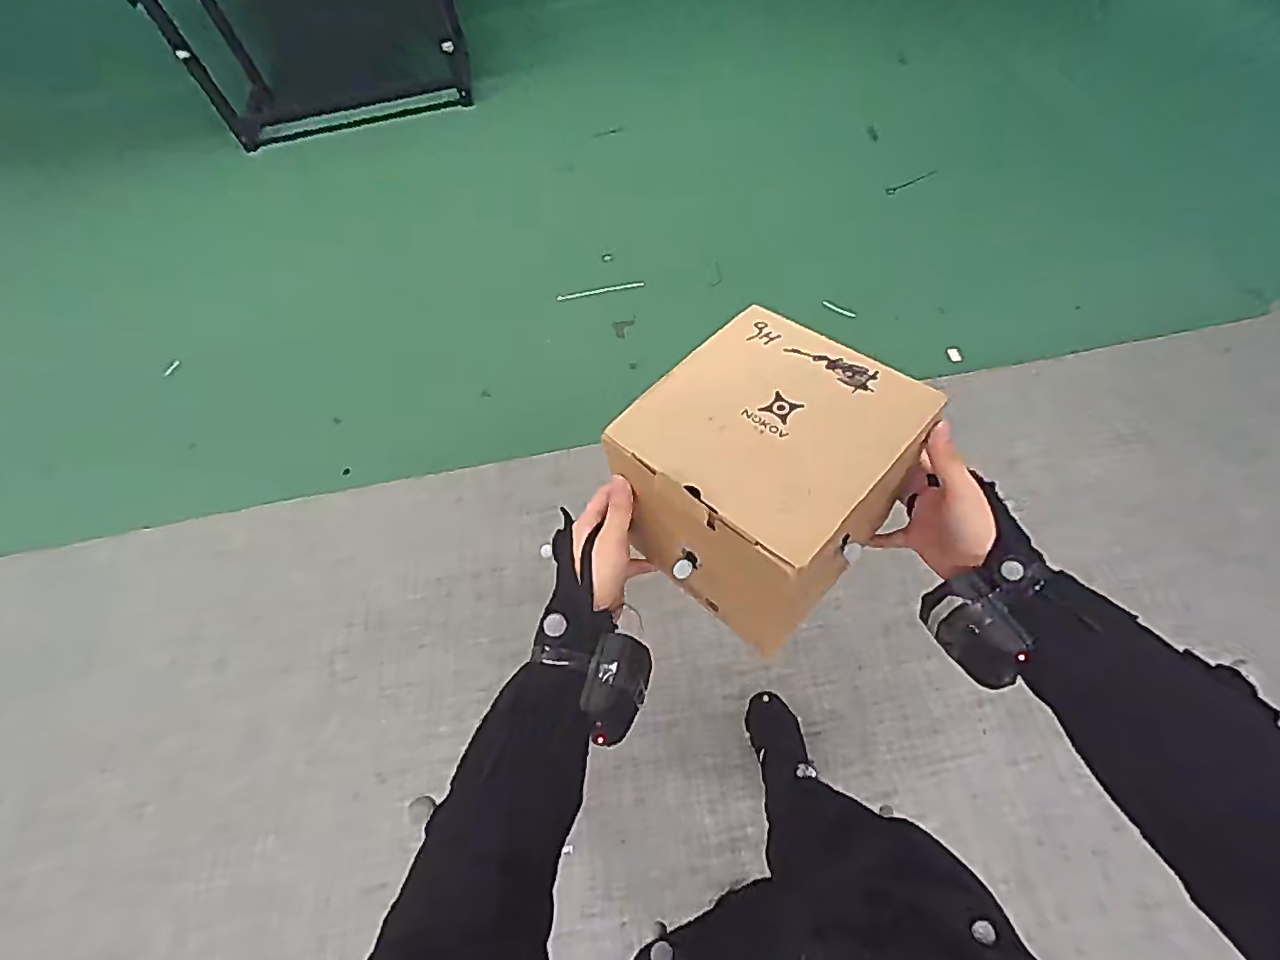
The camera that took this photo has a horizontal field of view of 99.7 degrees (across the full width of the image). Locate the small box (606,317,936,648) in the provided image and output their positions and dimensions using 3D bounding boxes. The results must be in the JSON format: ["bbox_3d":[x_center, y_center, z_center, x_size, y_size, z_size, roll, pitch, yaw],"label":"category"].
[{"bbox_3d":[0.100,0.007,0.446,0.168,0.176,0.179,37,67,27],"label":"small box"}]
